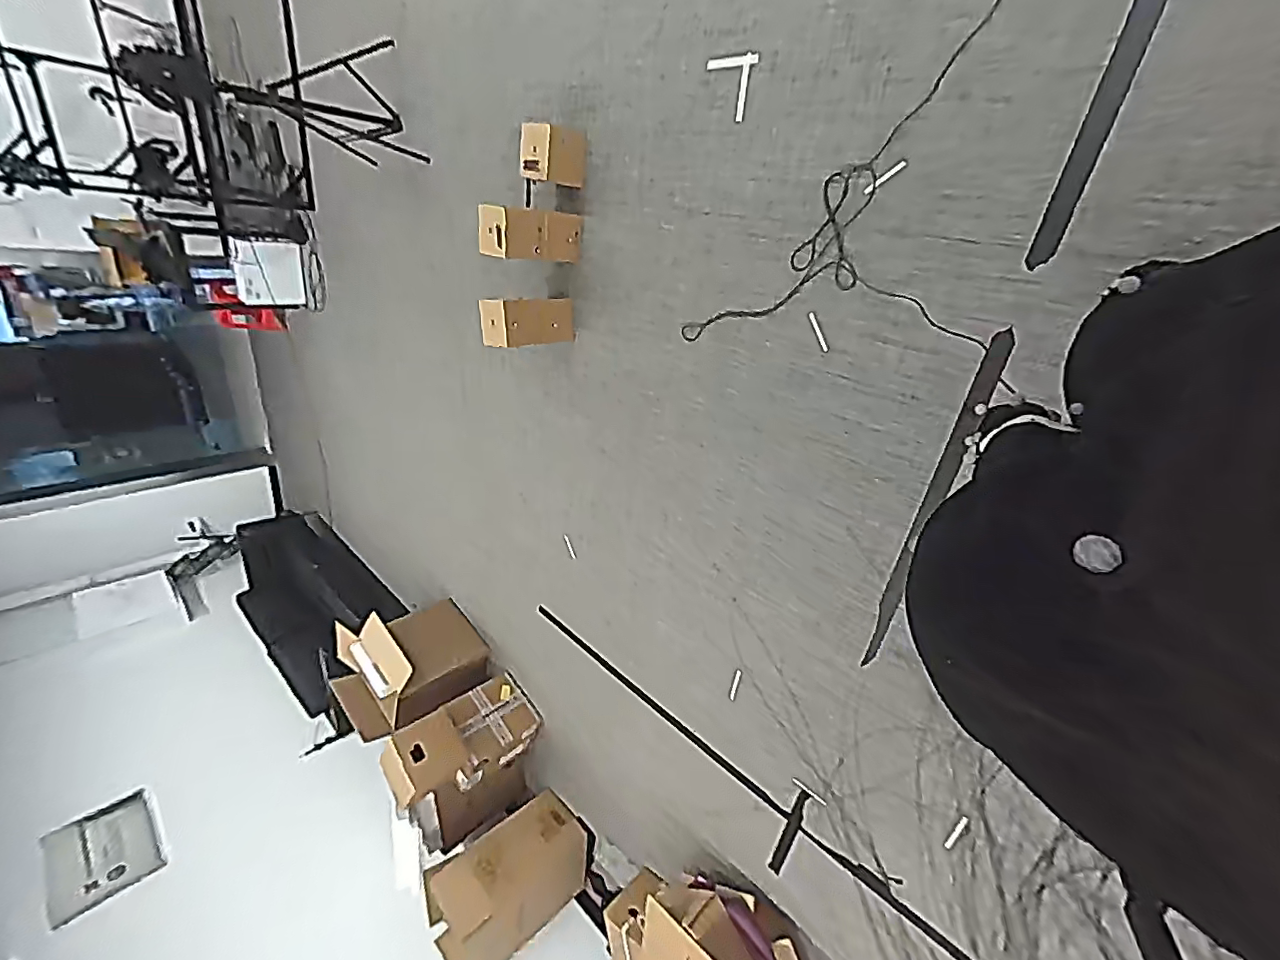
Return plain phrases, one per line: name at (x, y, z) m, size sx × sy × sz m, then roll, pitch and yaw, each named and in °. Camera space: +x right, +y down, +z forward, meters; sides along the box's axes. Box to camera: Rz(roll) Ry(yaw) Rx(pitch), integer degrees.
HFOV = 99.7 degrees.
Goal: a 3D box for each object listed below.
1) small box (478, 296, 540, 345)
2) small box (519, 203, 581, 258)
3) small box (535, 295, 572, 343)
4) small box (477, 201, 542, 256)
small box at (-0.508, -0.628, 2.116) m, size 0.168 × 0.176 × 0.179 m, roll 15°, pitch 114°, yaw 39°
small box at (-0.352, -0.956, 2.078) m, size 0.179 × 0.176 × 0.168 m, roll 30°, pitch 125°, yaw 33°
small box at (-0.396, -0.666, 2.228) m, size 0.168 × 0.176 × 0.179 m, roll 14°, pitch 115°, yaw 41°
small box at (-0.472, -0.916, 1.972) m, size 0.179 × 0.176 × 0.168 m, roll 28°, pitch 122°, yaw 36°
